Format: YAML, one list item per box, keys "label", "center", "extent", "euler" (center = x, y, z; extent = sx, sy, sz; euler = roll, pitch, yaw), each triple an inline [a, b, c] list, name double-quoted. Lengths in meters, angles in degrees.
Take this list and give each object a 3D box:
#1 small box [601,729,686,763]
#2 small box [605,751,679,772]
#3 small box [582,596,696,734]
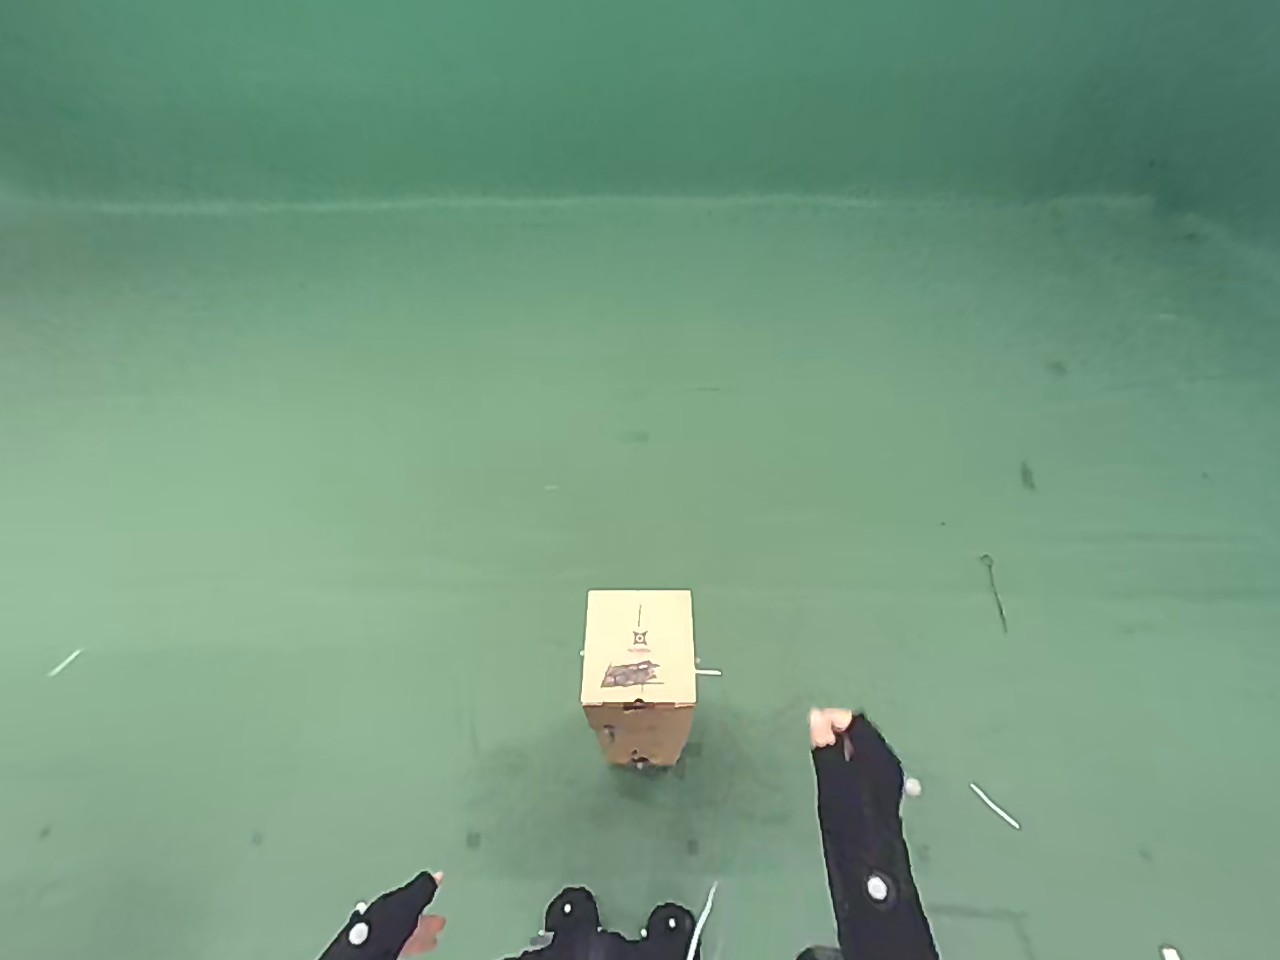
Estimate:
- label: "small box"
  center: [0.007, 0.489, 1.148]
  extent: [0.168, 0.176, 0.179]
  euler: [0, 55, 0]
- label: "small box"
  center: [0.009, 0.579, 1.284]
  extent: [0.168, 0.176, 0.179]
  euler: [1, 54, 3]
- label: "small box"
  center: [0.002, 0.303, 0.876]
  extent: [0.168, 0.176, 0.179]
  euler: [0, 53, 1]
